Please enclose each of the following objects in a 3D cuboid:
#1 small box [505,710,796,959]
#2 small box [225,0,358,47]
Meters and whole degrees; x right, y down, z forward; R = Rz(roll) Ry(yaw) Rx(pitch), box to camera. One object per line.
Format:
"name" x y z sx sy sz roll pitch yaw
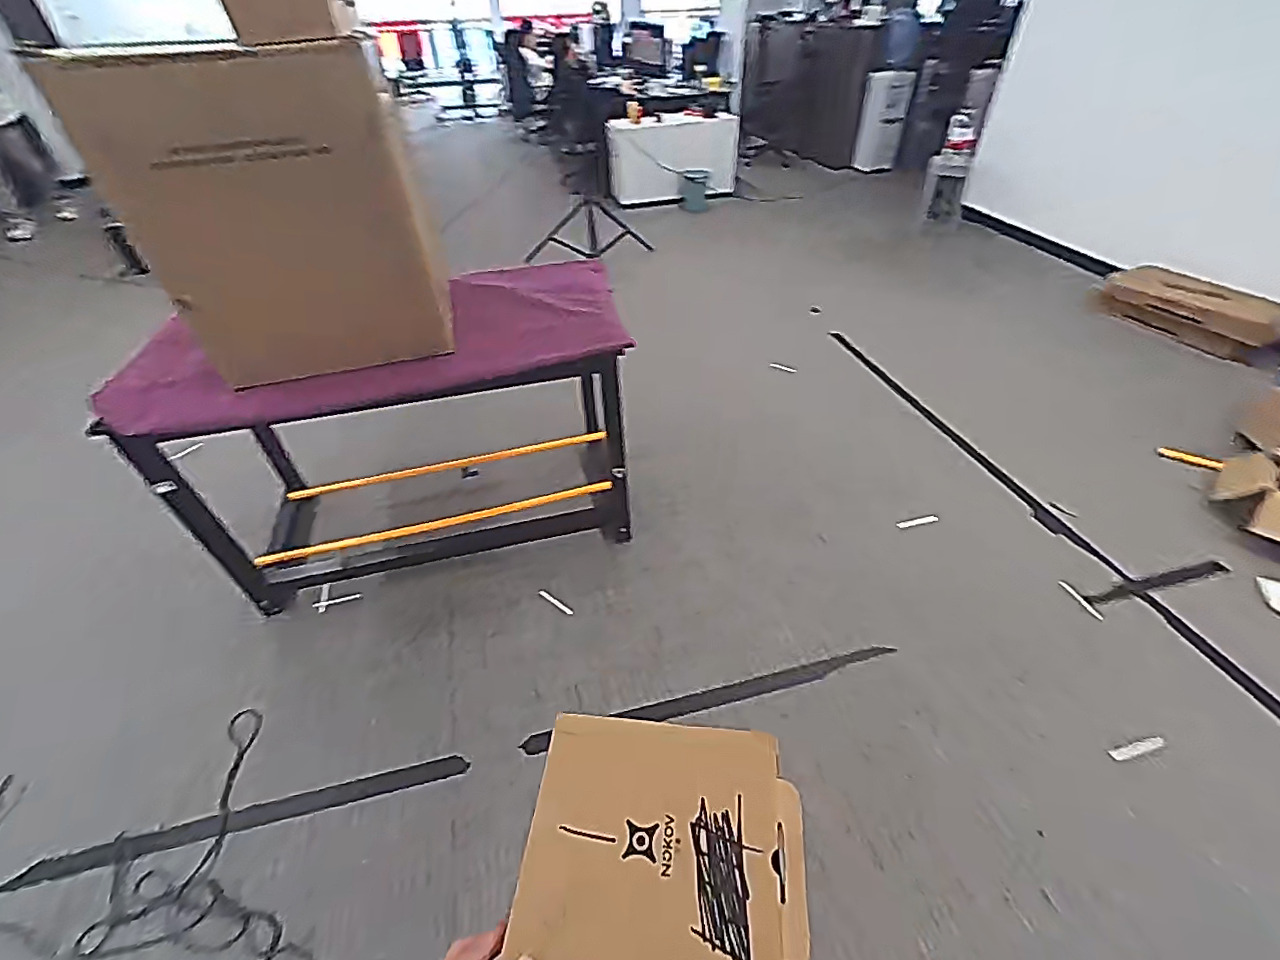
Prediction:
"small box" 0.017 0.302 0.421 0.179 0.176 0.168 2 44 7
"small box" -0.627 -0.875 0.947 0.179 0.176 0.168 -12 44 -9
